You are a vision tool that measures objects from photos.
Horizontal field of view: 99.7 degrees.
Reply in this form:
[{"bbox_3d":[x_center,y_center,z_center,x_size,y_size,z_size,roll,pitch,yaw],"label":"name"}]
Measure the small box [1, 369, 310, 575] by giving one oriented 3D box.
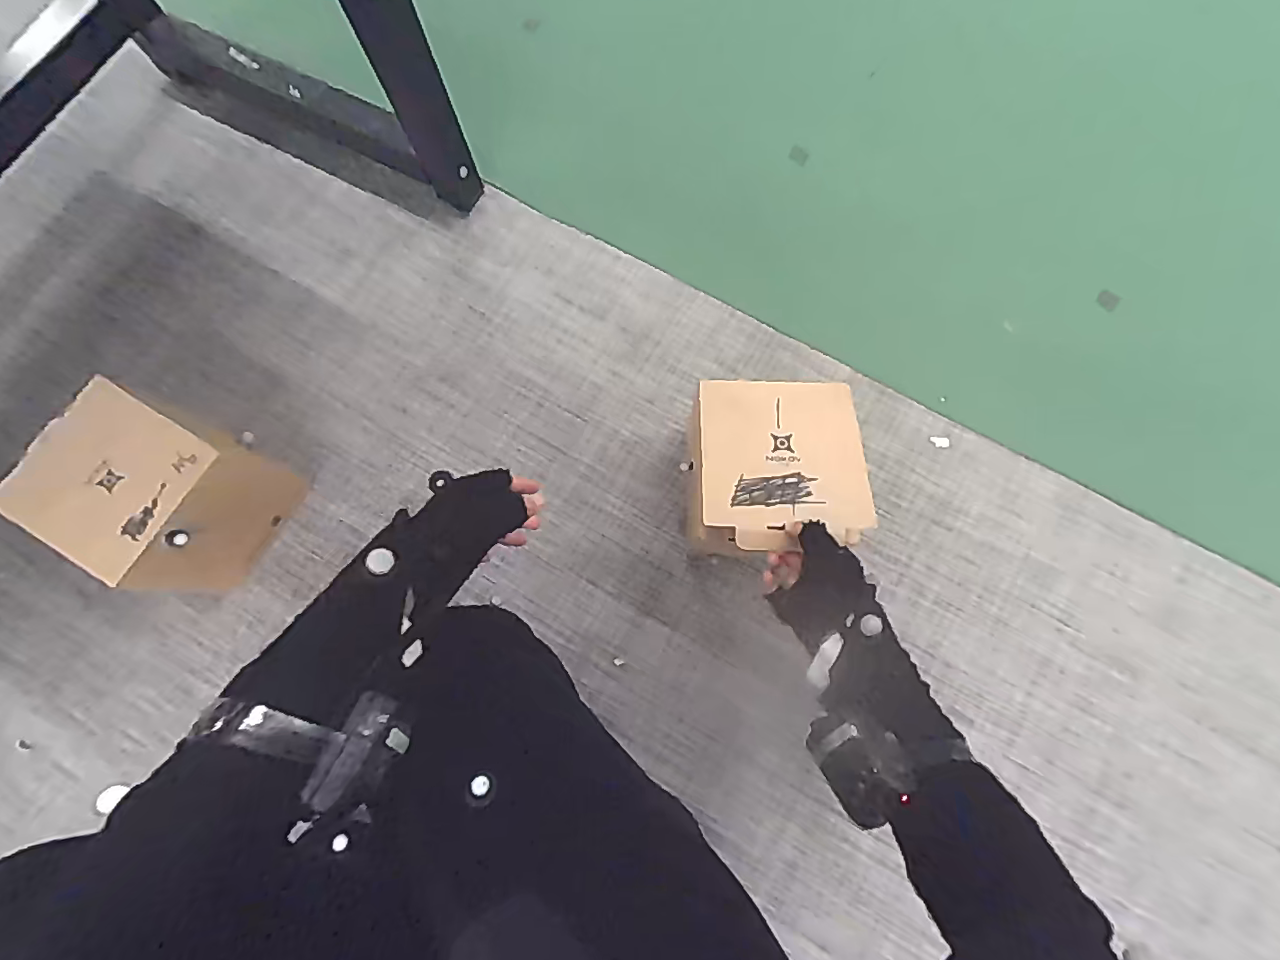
[{"bbox_3d":[-0.553,0.004,0.645,0.179,0.176,0.168,31,81,7],"label":"small box"}]
